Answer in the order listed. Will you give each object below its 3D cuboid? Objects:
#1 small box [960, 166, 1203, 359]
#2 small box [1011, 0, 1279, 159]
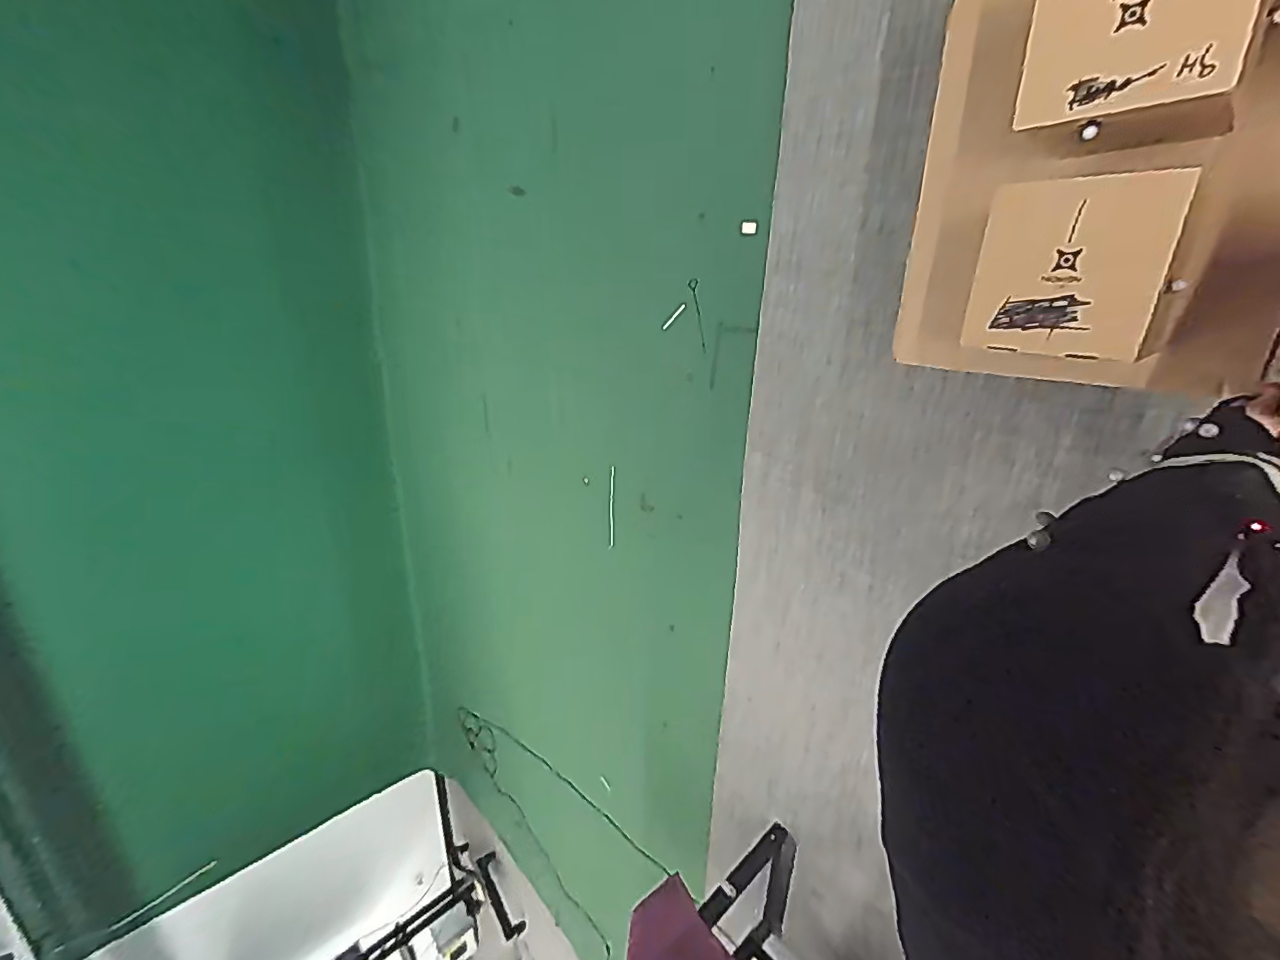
[{"bbox_3d":[0.503,-0.242,0.621,0.168,0.176,0.179,22,118,43],"label":"small box"},{"bbox_3d":[0.510,-0.450,0.545,0.168,0.176,0.179,20,115,45],"label":"small box"}]
